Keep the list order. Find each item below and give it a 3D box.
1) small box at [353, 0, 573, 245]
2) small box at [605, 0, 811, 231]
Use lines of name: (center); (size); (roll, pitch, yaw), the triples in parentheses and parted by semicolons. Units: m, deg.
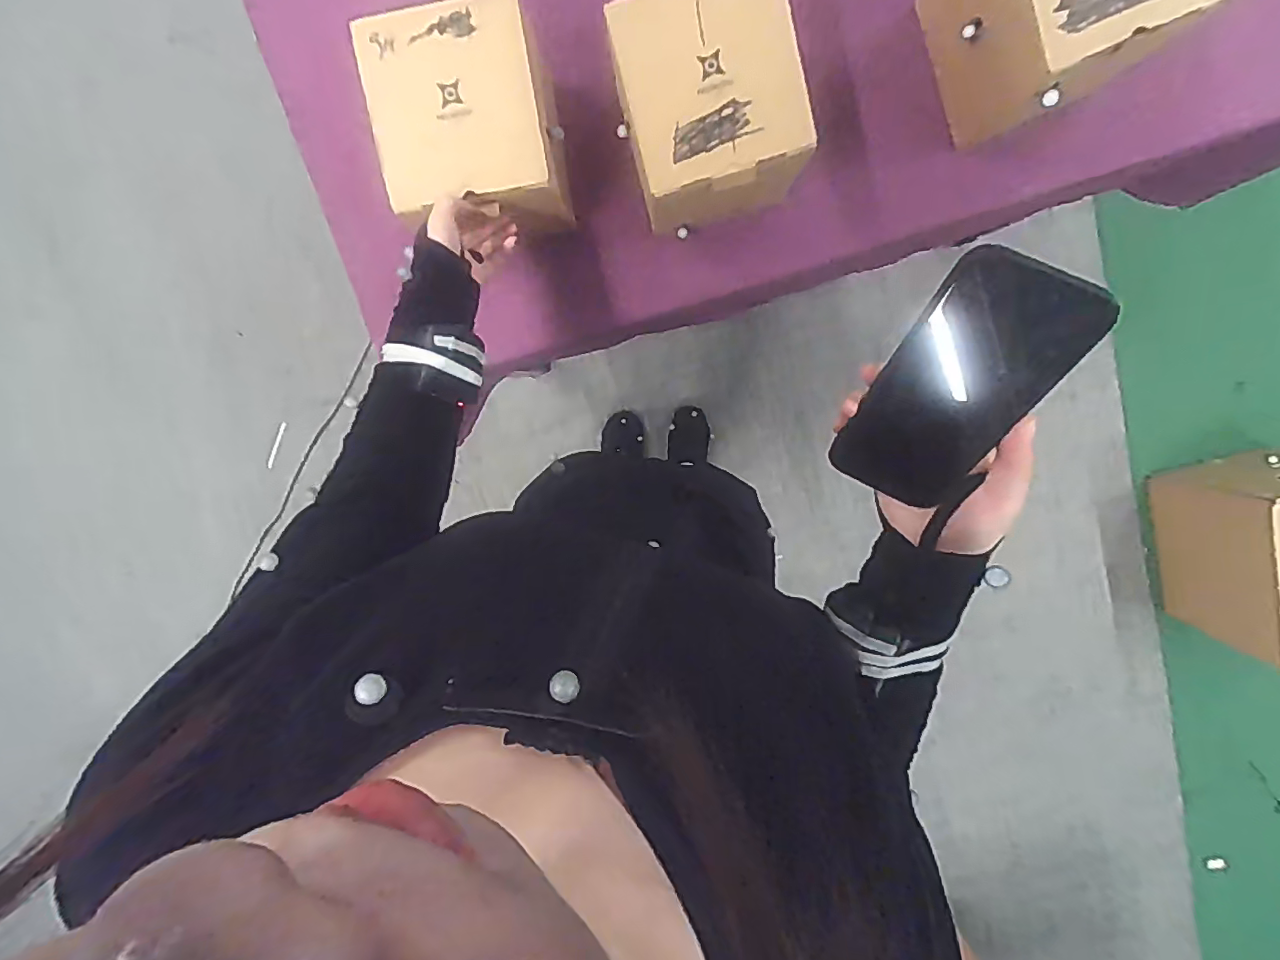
small box: (-0.178, -0.375, 0.604); (0.168, 0.176, 0.179); (-8, 101, 4)
small box: (0.071, -0.391, 0.589); (0.168, 0.176, 0.179); (-14, 99, 5)
